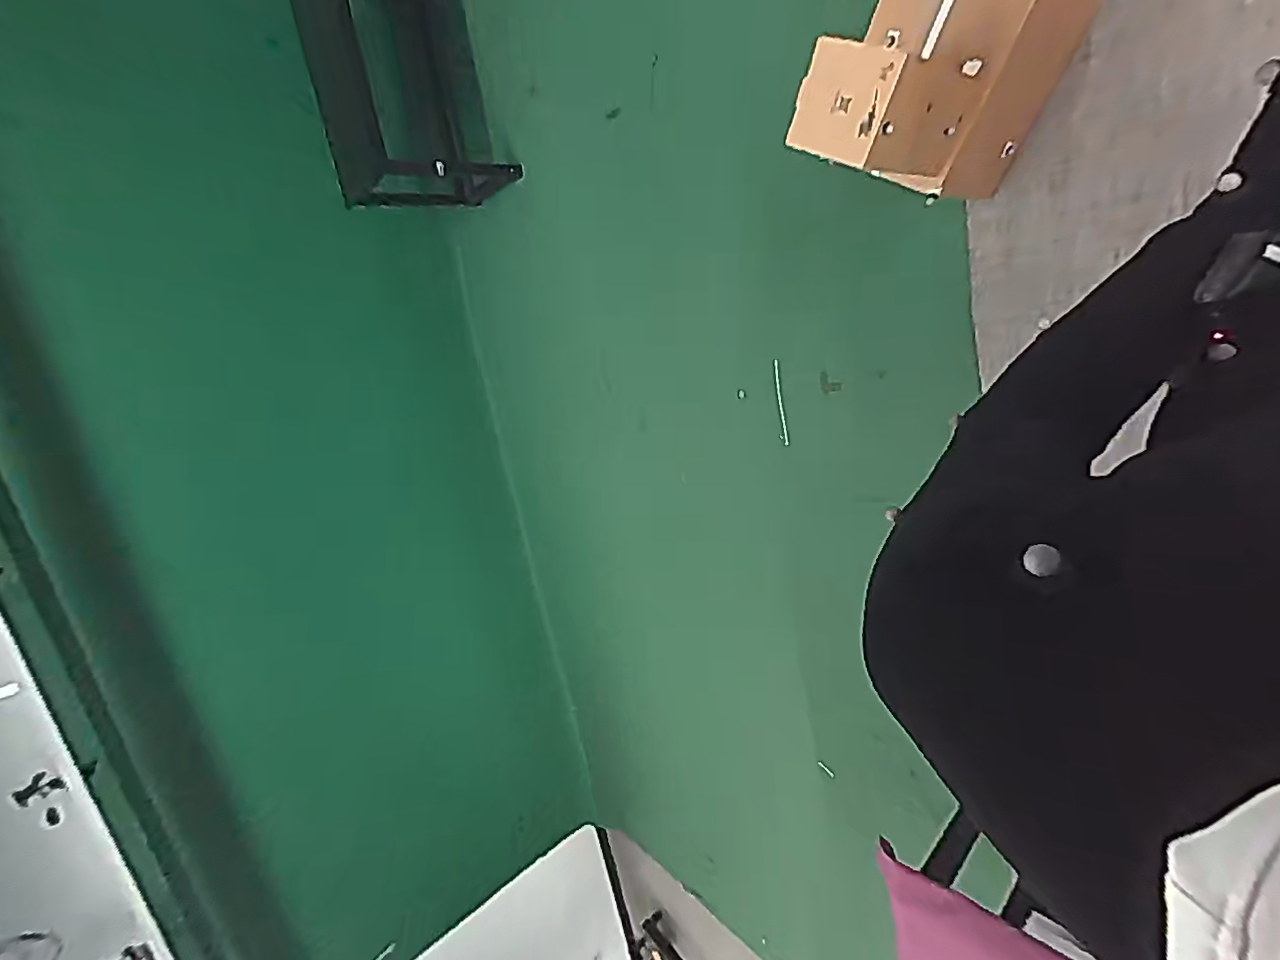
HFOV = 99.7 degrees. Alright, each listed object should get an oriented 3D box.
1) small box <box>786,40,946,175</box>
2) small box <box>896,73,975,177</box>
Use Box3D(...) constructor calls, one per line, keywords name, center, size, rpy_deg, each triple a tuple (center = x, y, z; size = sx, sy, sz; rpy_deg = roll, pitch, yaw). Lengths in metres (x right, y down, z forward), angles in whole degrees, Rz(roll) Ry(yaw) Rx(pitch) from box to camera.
Box3D(name="small box", center=(0.405, -0.666, 0.979), size=(0.179, 0.176, 0.168), rpy_deg=(42, 135, 31))
Box3D(name="small box", center=(0.521, -0.719, 1.083), size=(0.179, 0.176, 0.168), rpy_deg=(42, 136, 30))
